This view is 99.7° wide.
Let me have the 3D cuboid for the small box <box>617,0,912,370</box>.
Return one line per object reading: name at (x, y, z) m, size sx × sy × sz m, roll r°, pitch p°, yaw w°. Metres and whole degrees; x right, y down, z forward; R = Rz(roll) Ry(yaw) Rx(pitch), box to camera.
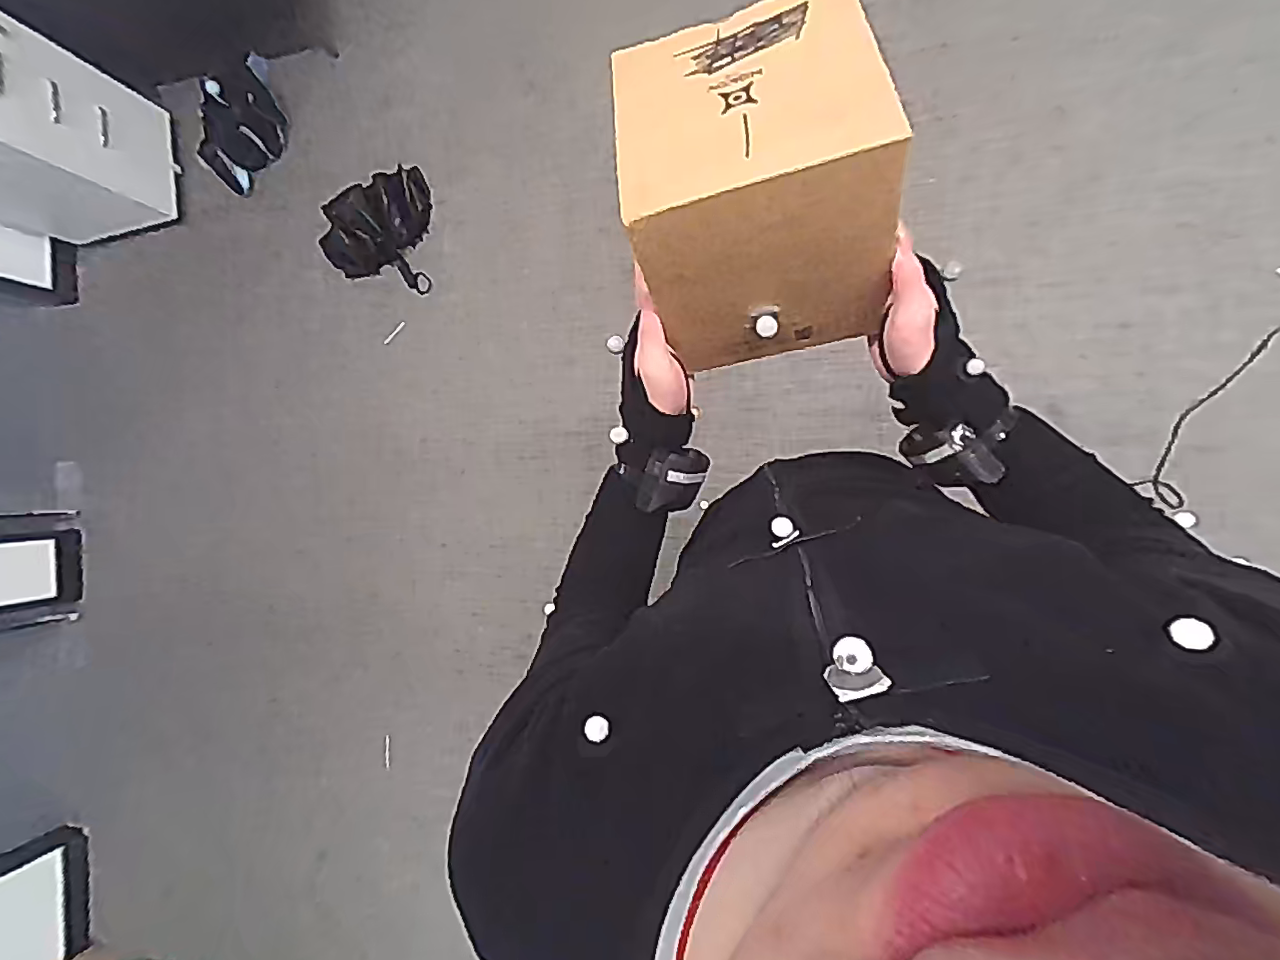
small box at (0.086, -0.212, 0.409) m, size 0.168 × 0.176 × 0.179 m, roll -10°, pitch 66°, yaw 15°
